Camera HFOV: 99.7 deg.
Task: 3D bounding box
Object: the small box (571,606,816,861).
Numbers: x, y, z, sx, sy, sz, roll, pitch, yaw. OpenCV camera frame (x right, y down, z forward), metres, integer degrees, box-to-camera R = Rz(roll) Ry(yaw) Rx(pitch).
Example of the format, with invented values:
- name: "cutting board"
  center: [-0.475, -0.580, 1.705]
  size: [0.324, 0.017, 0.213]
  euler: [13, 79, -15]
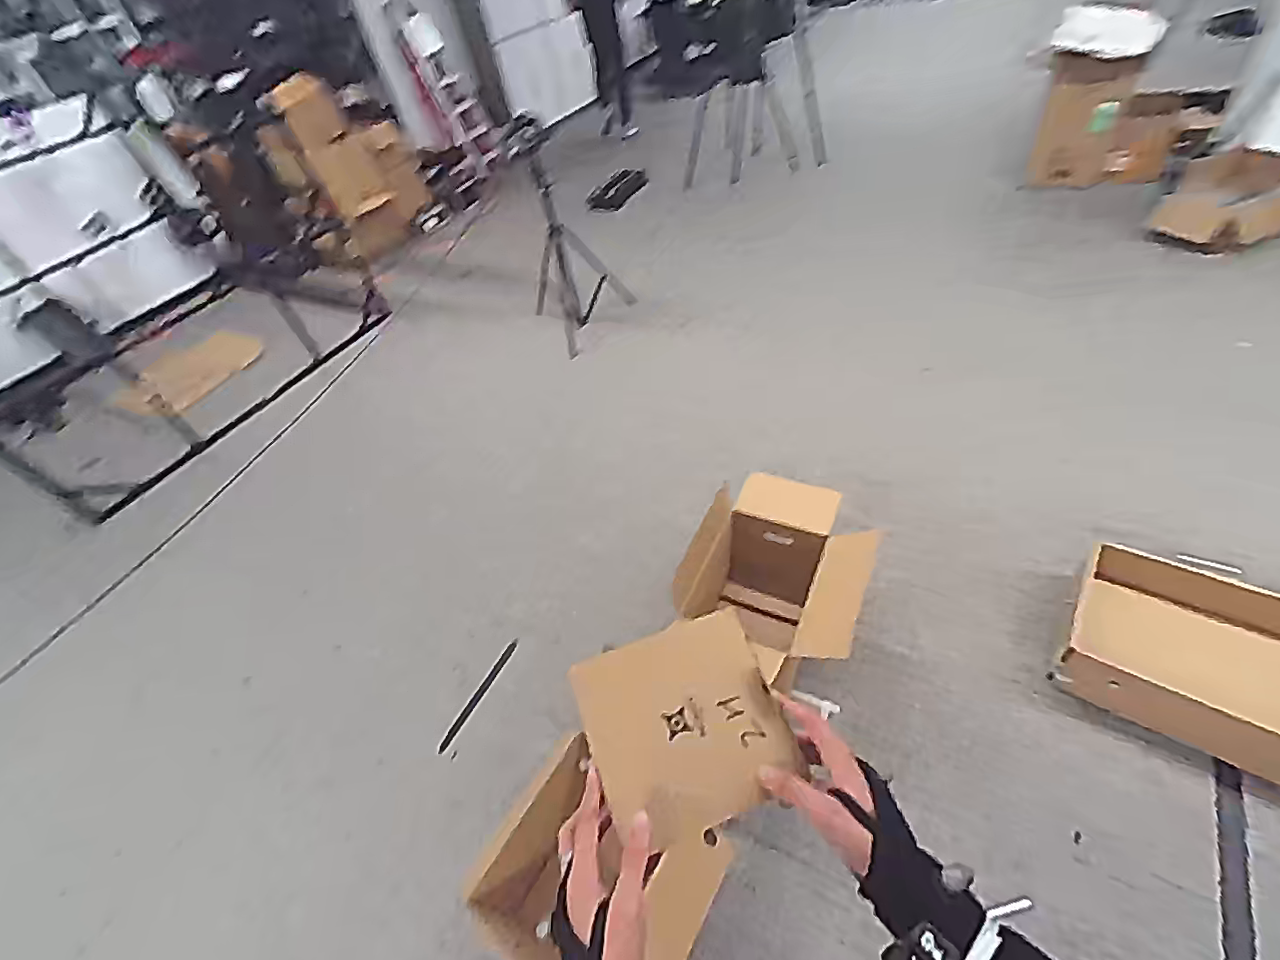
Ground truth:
- name: "small box"
  center: [0.041, 0.255, 0.546]
  size: [0.179, 0.176, 0.168]
  euler: [-16, 61, -13]
